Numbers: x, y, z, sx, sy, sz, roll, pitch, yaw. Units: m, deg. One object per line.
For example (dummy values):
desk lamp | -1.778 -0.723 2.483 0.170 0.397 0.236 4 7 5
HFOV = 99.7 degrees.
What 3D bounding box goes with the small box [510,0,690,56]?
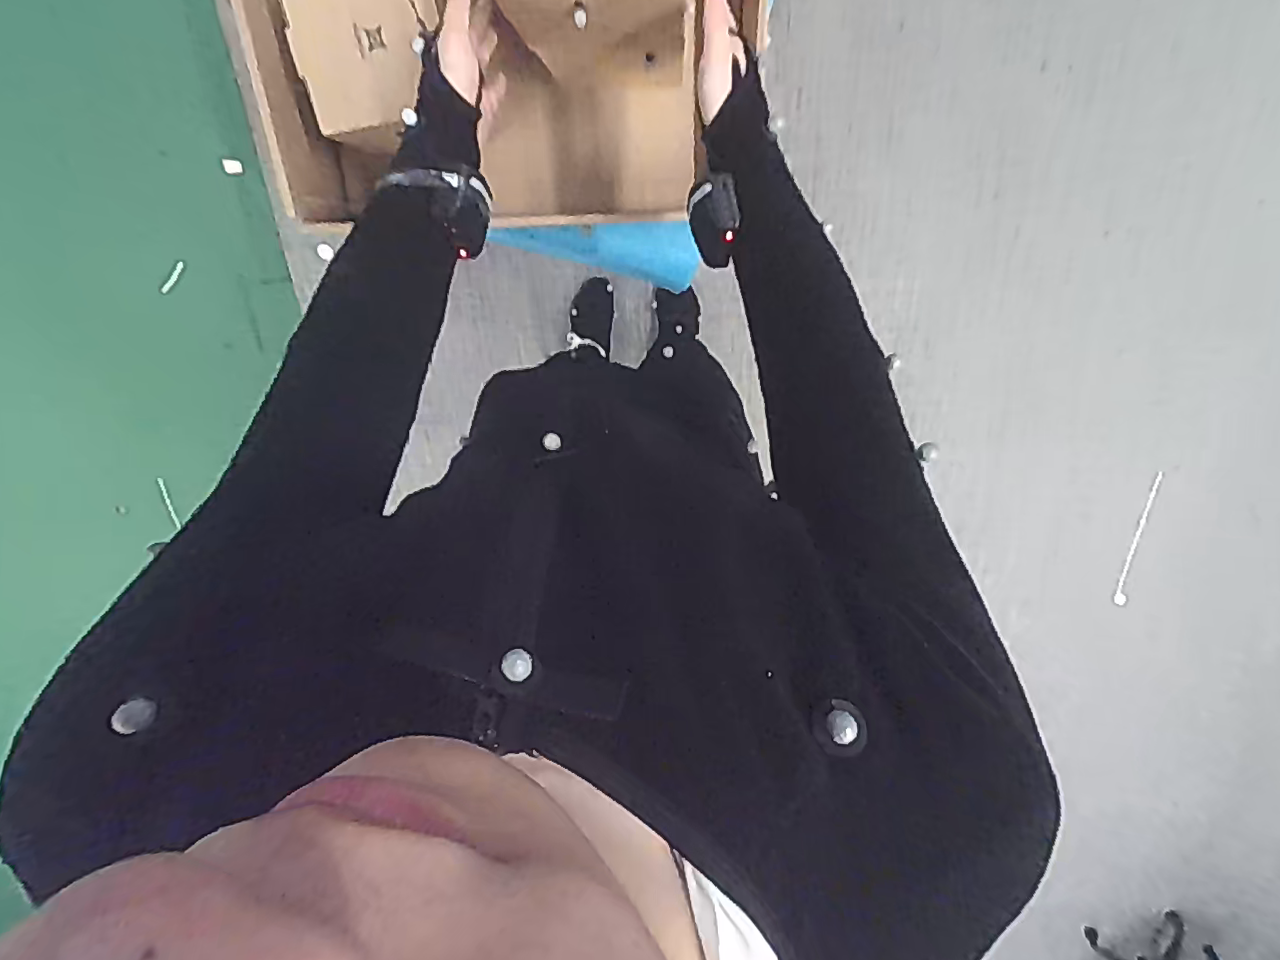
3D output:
small box | -0.038 -0.519 0.500 0.179 0.176 0.168 2 113 2
